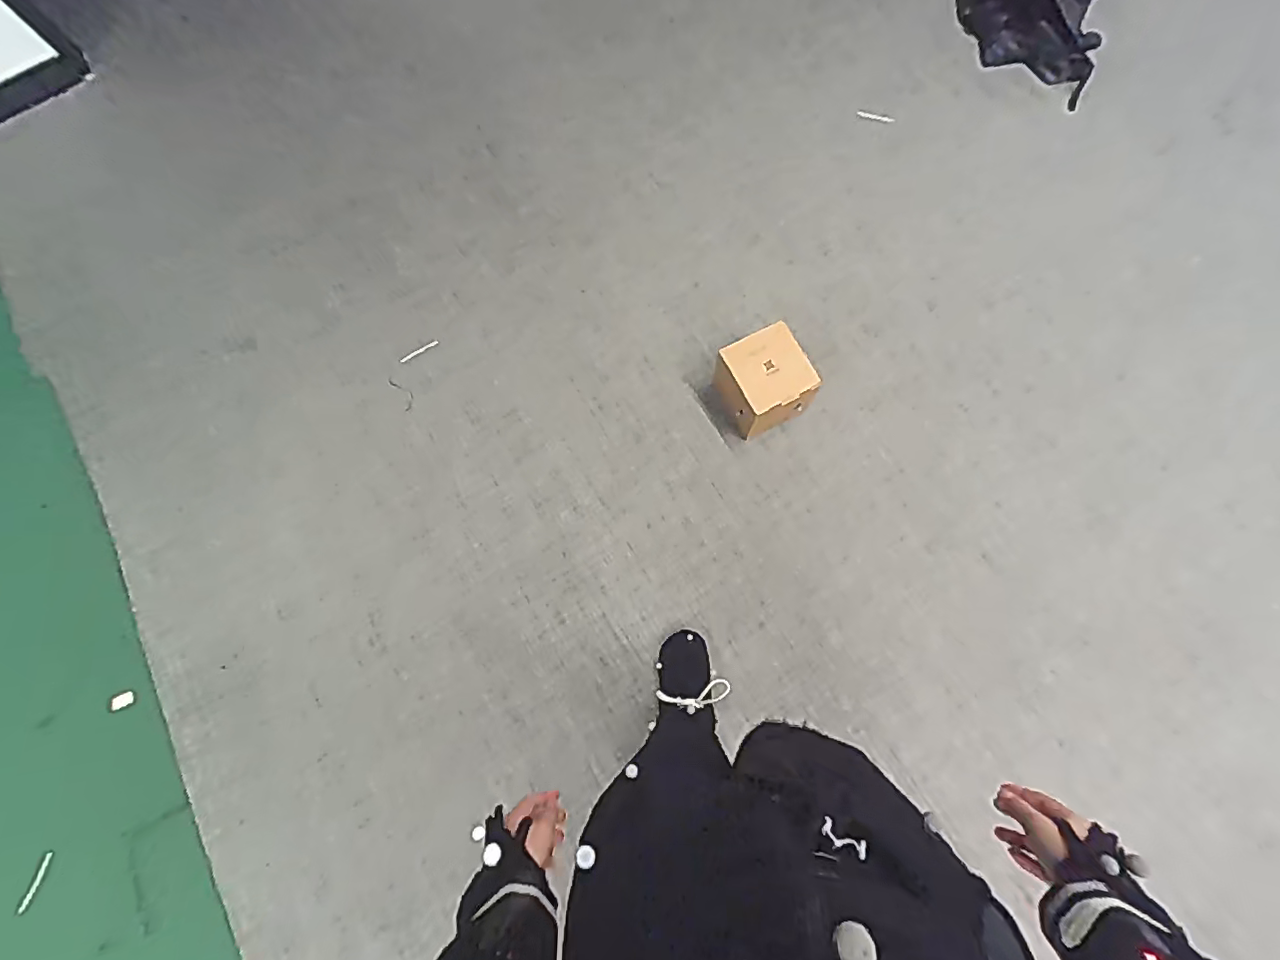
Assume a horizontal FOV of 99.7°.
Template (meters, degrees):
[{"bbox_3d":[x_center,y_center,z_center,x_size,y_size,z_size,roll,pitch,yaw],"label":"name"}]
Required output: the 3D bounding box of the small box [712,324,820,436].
[{"bbox_3d":[0.282,-0.220,1.250,0.168,0.176,0.179,-26,75,-6],"label":"small box"}]
